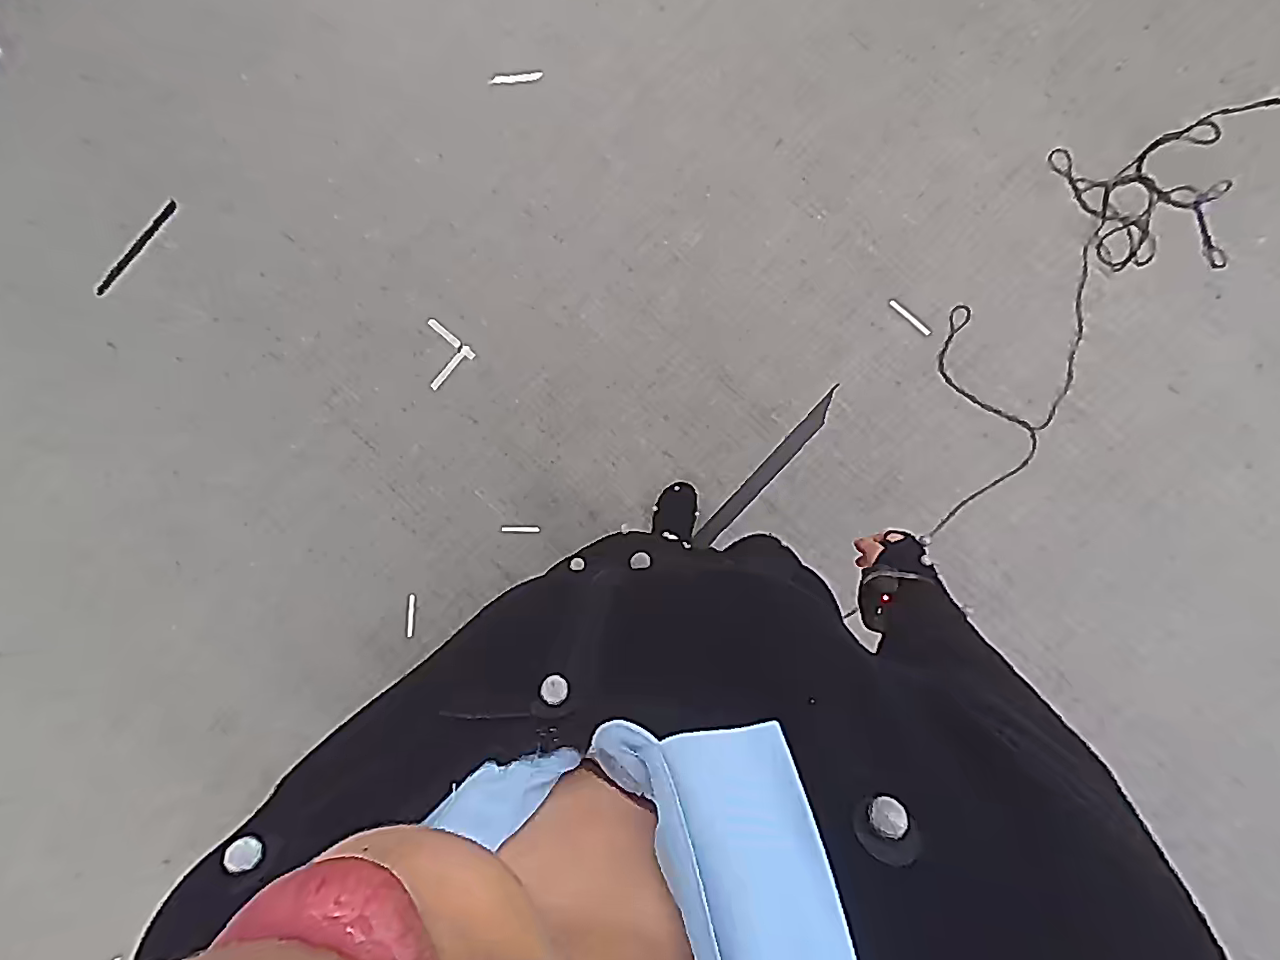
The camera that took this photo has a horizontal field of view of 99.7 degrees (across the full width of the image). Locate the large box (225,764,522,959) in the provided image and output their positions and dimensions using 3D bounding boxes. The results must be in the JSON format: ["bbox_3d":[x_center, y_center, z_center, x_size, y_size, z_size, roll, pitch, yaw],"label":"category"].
[{"bbox_3d":[-0.527,0.916,1.146,0.408,0.320,0.320,45,90,4],"label":"large box"}]
